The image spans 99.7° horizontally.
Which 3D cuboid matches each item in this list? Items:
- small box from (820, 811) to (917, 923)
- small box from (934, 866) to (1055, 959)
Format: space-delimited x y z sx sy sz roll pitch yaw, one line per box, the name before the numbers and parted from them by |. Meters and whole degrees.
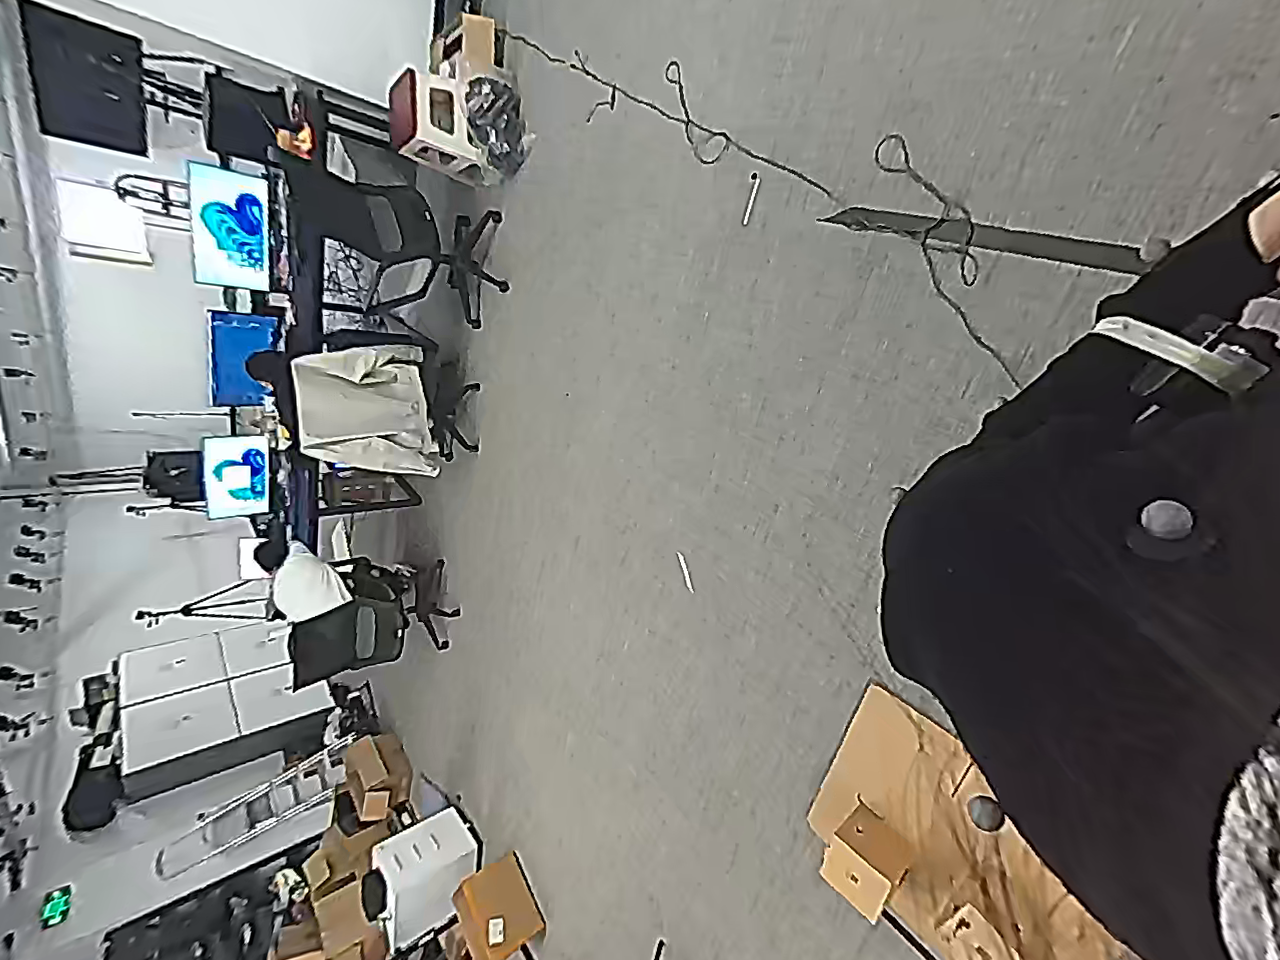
small box | 0.657 1.096 1.556 0.179 0.176 0.168 27 115 42
small box | 0.870 1.108 1.324 0.179 0.176 0.168 41 123 34
